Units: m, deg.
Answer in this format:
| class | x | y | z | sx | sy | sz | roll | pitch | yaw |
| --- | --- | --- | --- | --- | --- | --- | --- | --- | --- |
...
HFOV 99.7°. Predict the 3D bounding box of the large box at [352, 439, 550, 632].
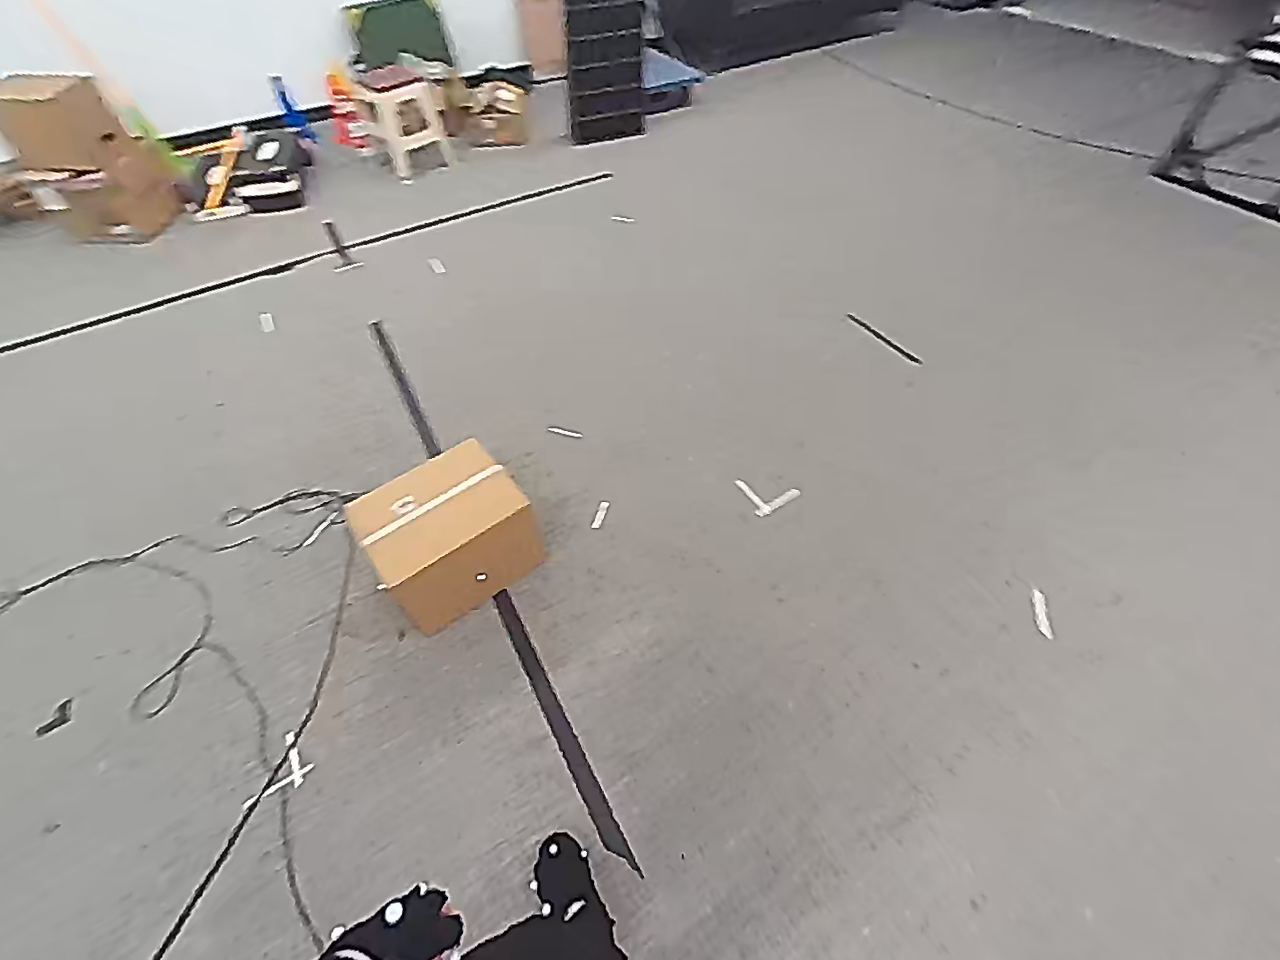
| class | x | y | z | sx | sy | sz | roll | pitch | yaw |
| --- | --- | --- | --- | --- | --- | --- | --- | --- | --- |
| large box | -0.524 | 0.159 | 1.567 | 0.408 | 0.320 | 0.320 | -33 | 58 | -21 |
